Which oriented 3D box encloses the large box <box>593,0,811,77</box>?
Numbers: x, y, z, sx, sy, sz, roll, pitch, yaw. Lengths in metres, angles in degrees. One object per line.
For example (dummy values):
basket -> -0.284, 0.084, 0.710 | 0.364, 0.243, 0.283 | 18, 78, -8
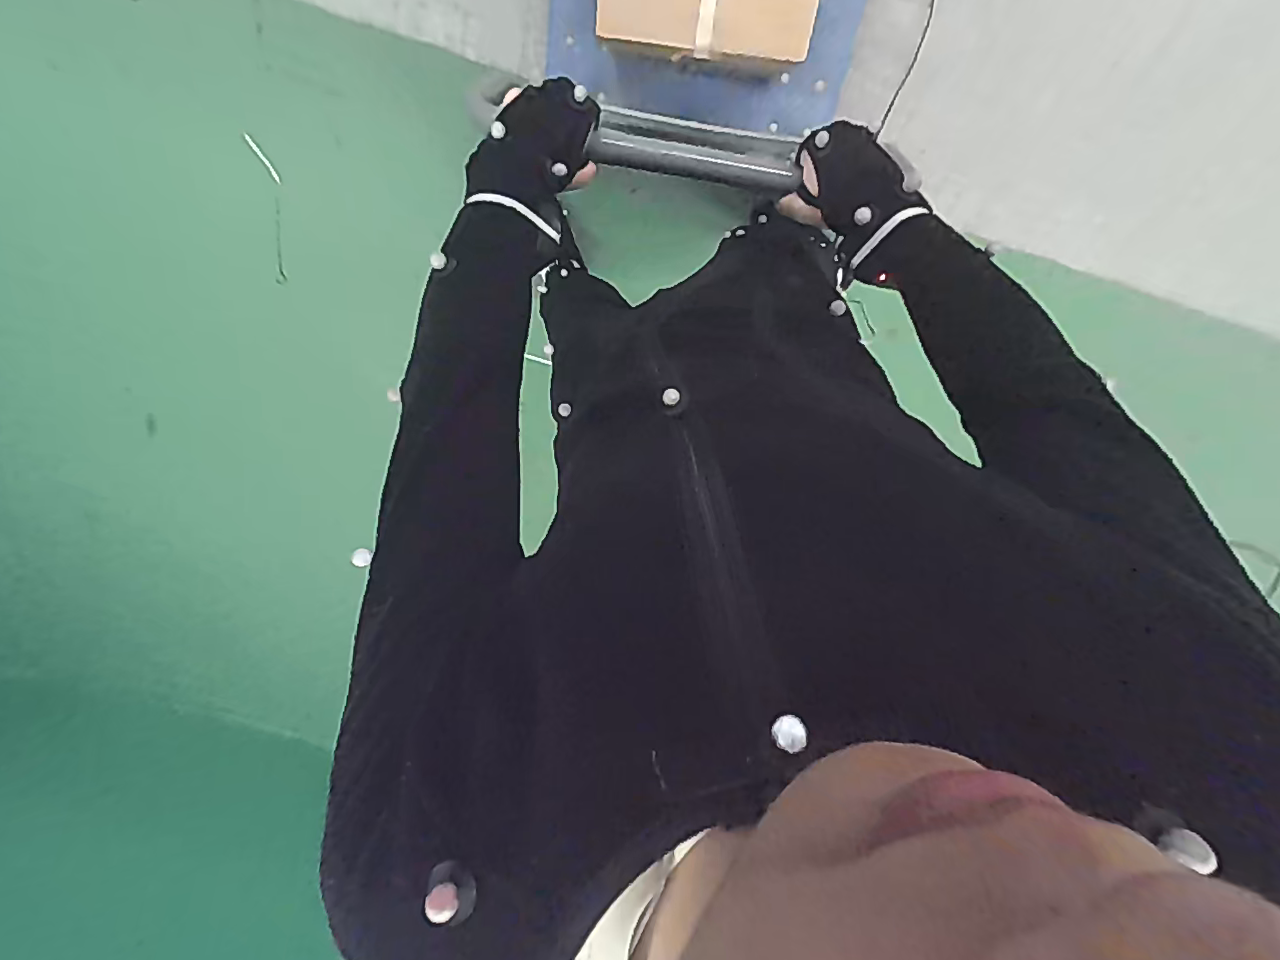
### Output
large box -> 0.111, -0.882, 0.821 | 0.320, 0.320, 0.408 | 7, 123, -1
